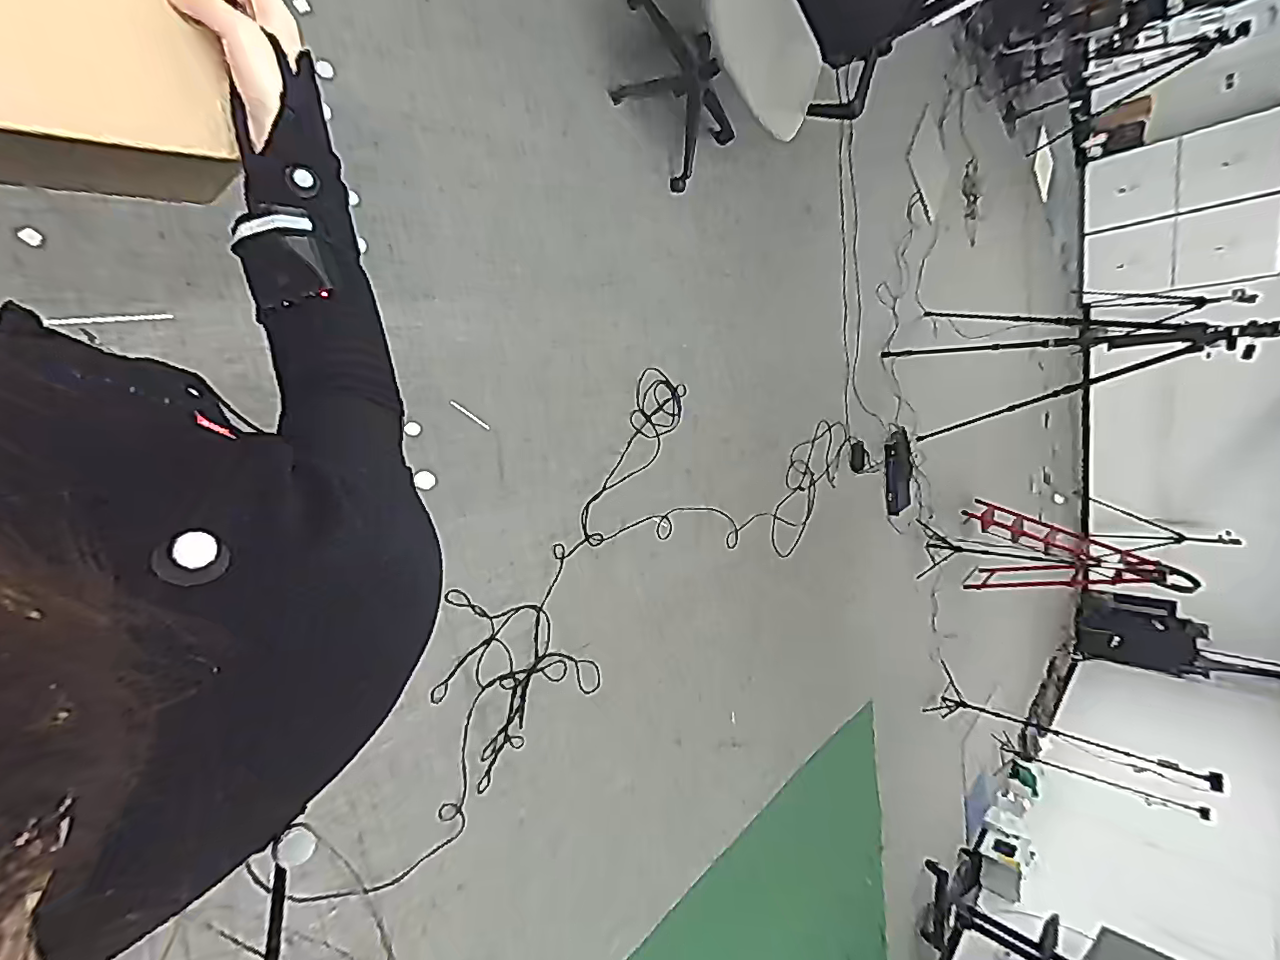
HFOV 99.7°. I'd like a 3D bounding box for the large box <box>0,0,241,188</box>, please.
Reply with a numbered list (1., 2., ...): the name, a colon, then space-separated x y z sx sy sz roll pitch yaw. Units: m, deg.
1. large box: -0.552 -0.396 0.355 0.408 0.320 0.320 -15 115 -37
